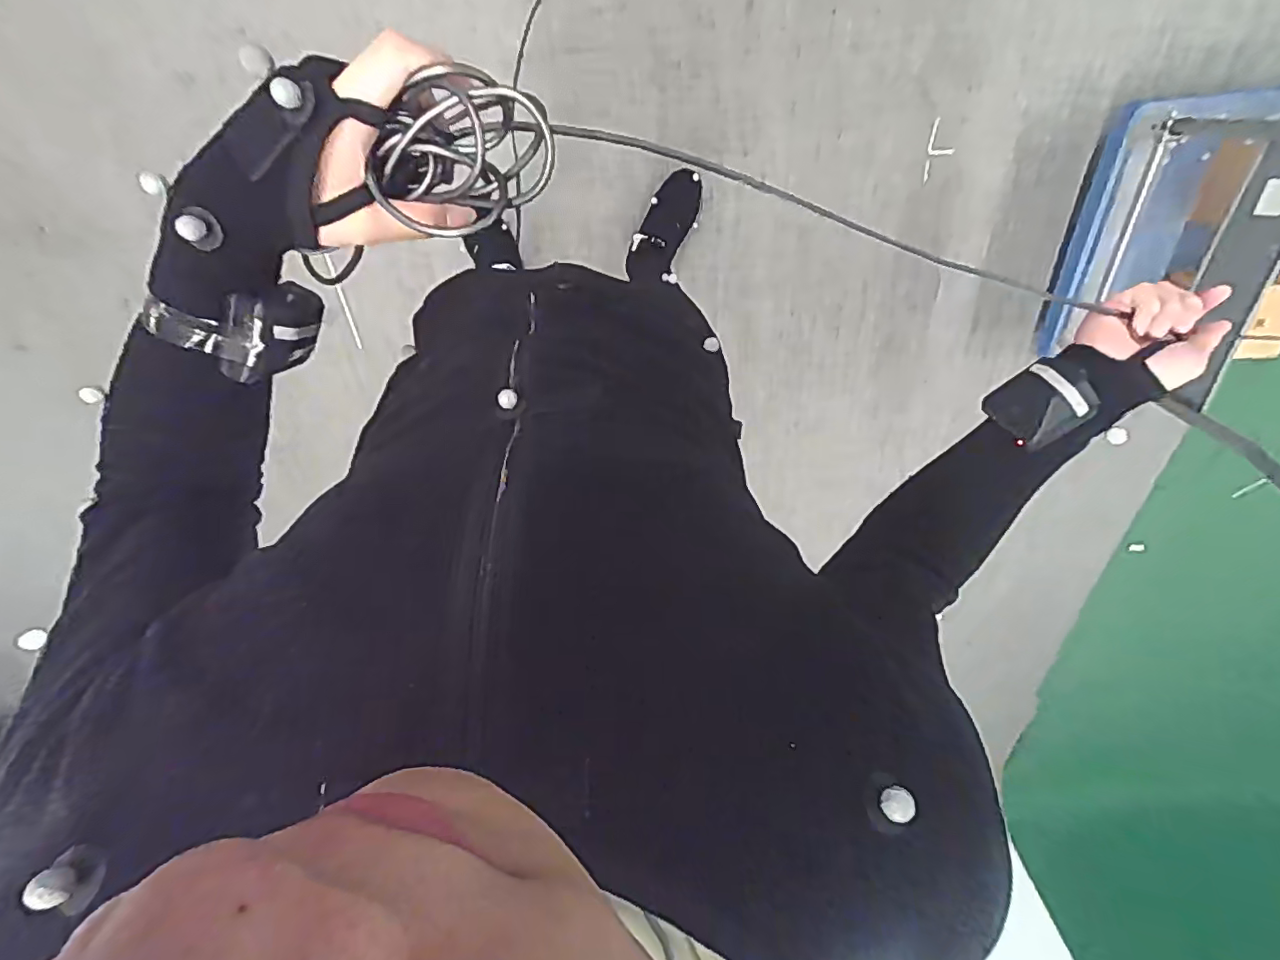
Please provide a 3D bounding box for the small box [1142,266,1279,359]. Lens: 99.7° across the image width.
[{"bbox_3d":[1.341,-0.390,1.247,0.179,0.176,0.168,-2,124,2],"label":"small box"}]
